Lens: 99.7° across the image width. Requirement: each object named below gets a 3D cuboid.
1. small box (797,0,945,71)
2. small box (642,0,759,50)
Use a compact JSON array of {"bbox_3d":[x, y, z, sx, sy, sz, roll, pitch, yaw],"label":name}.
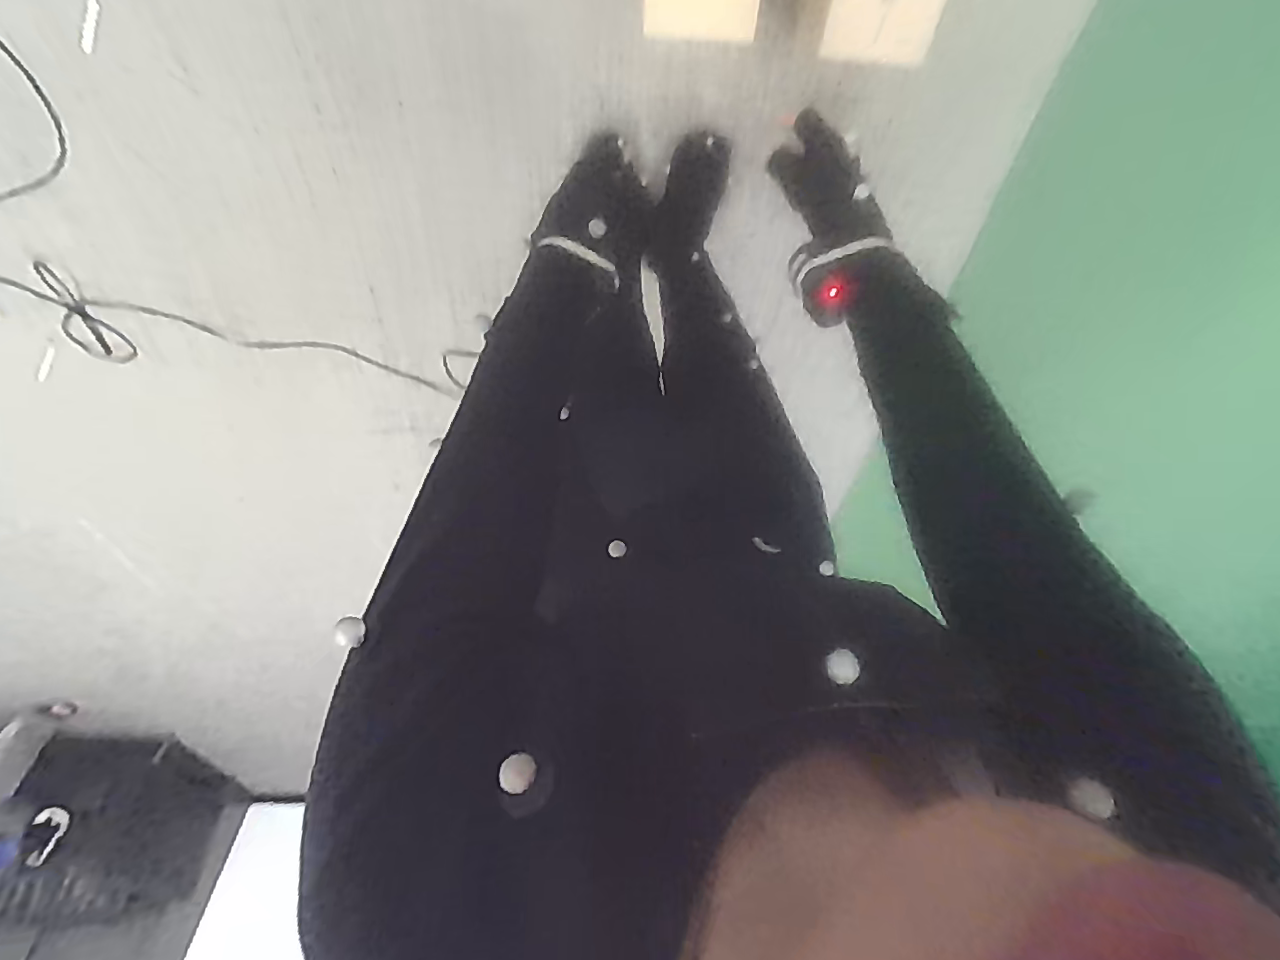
[{"bbox_3d":[0.352,-0.747,0.817,0.168,0.176,0.179,2,136,-4],"label":"small box"},{"bbox_3d":[0.090,-0.763,0.796,0.168,0.176,0.179,1,135,-3],"label":"small box"}]
